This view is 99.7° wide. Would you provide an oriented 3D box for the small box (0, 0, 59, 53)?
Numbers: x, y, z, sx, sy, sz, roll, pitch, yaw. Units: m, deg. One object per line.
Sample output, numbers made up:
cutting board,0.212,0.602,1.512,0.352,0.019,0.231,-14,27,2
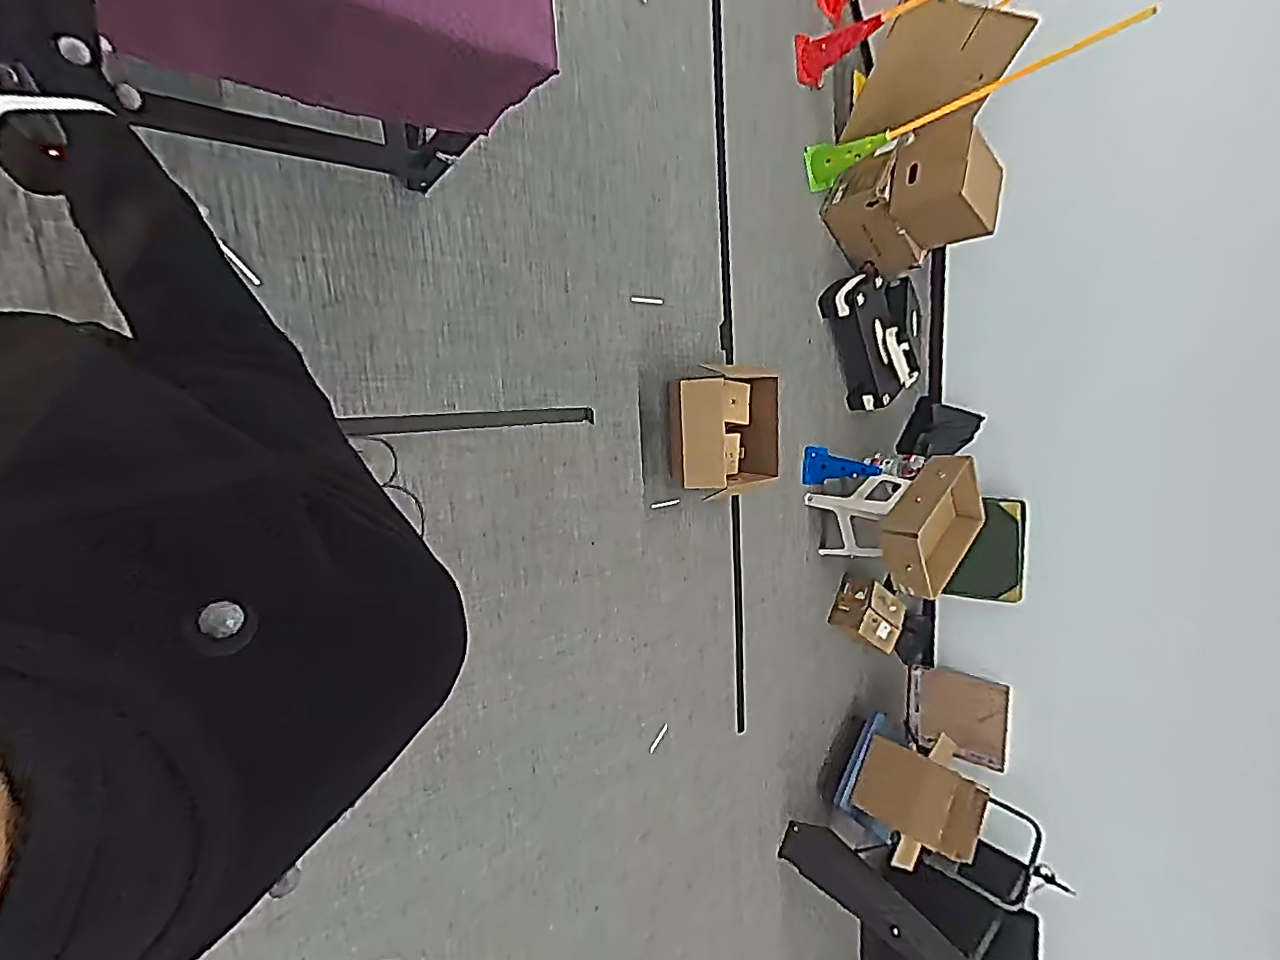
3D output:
small box,-0.569,-0.450,0.375,0.168,0.176,0.179,-21,105,-32
